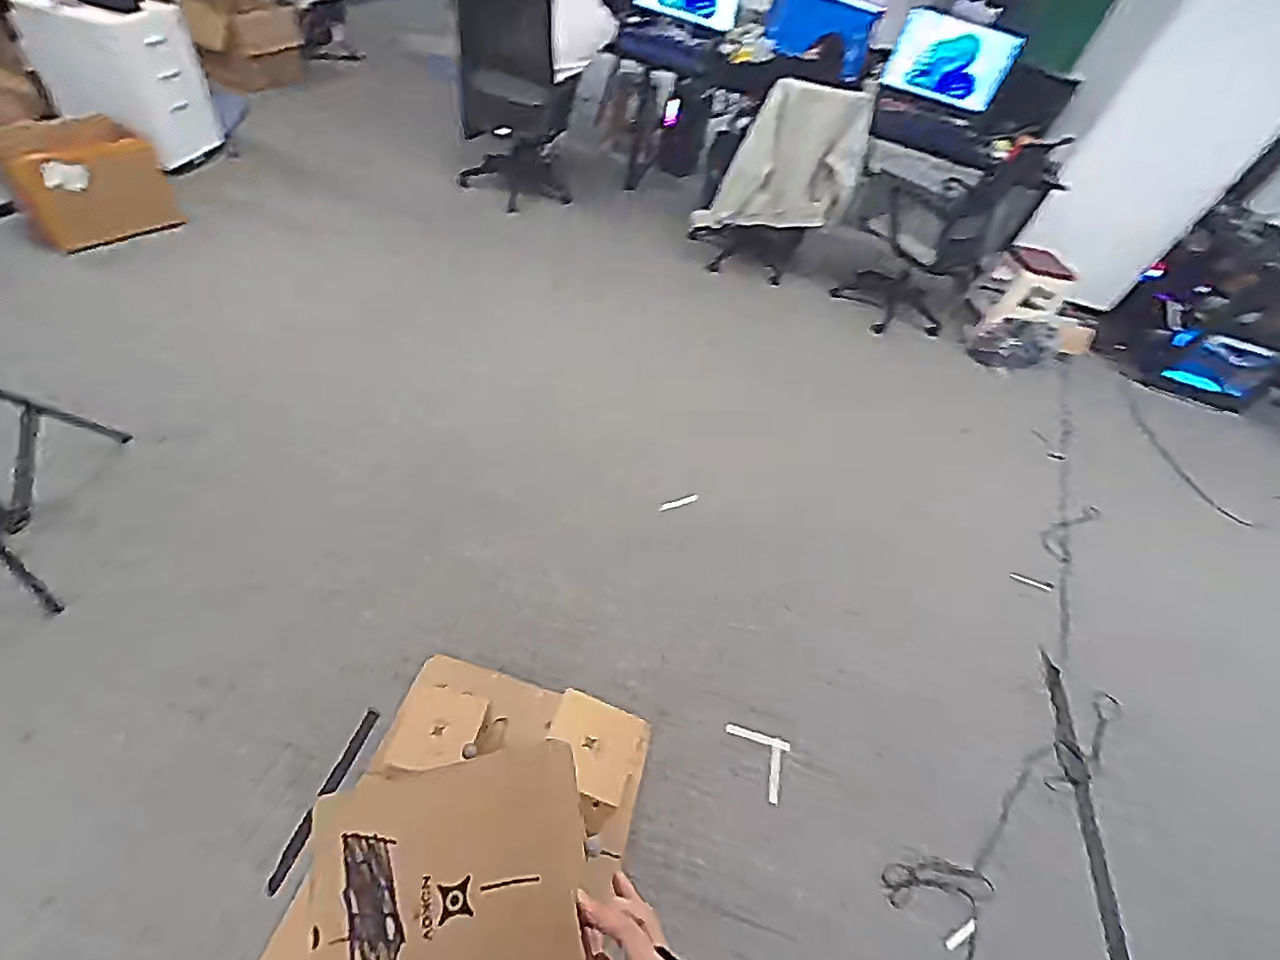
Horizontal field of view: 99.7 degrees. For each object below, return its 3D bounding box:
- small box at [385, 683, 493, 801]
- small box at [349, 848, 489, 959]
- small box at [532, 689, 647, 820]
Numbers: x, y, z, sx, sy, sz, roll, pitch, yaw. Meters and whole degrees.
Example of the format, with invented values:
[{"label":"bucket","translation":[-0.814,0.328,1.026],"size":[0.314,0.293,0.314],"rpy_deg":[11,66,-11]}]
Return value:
[{"label":"small box","translation":[-0.438,0.586,1.205],"size":[0.168,0.176,0.179],"rpy_deg":[14,47,0]},{"label":"small box","translation":[-0.394,0.826,1.003],"size":[0.168,0.176,0.179],"rpy_deg":[25,50,8]},{"label":"small box","translation":[-0.107,0.558,1.091],"size":[0.179,0.176,0.168],"rpy_deg":[22,48,3]}]
